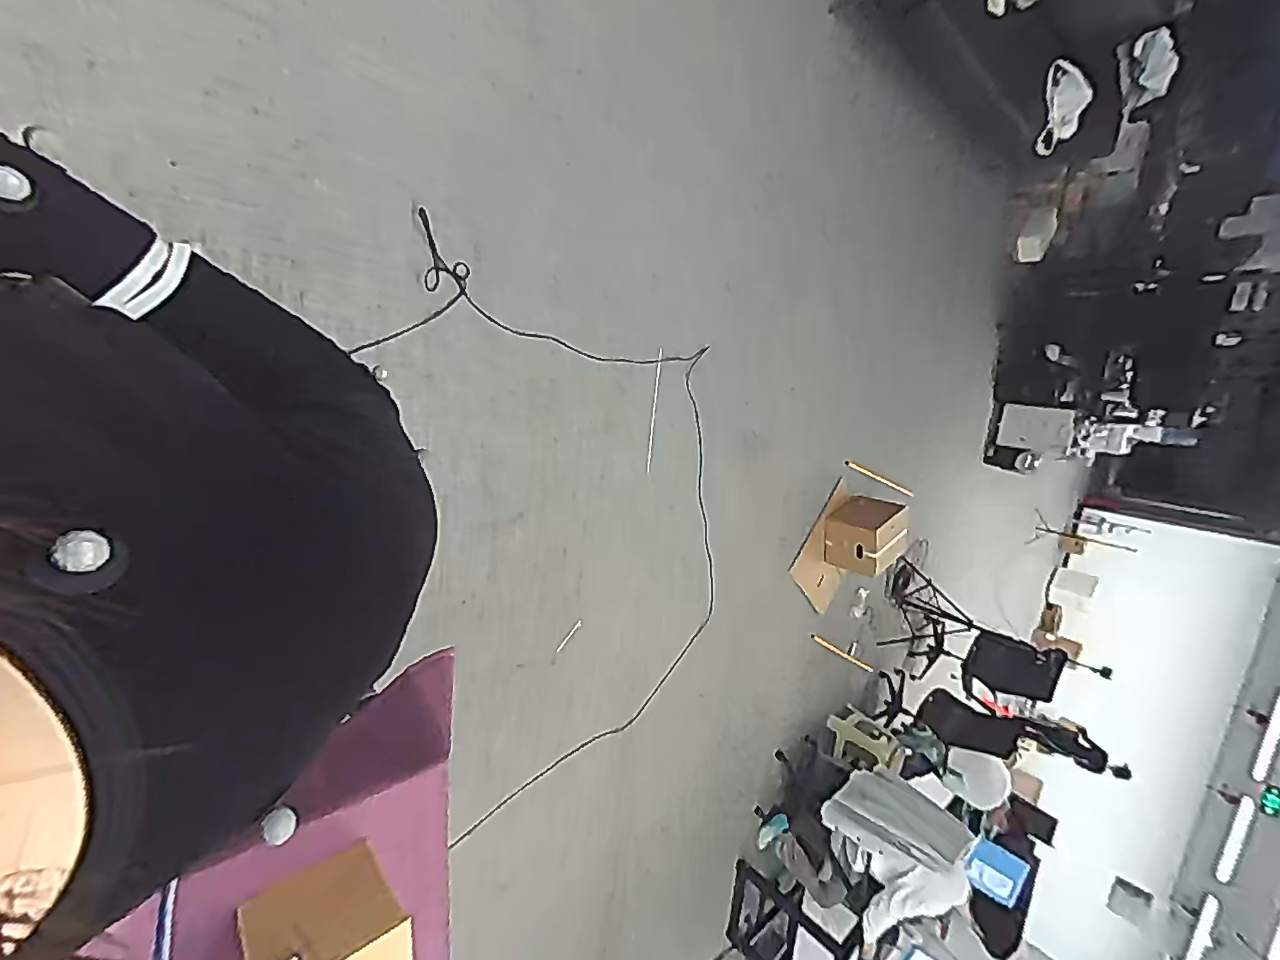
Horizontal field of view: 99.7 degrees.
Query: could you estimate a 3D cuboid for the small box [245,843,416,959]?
[{"bbox_3d":[-0.435,0.671,0.765,0.179,0.176,0.168,-9,108,-40],"label":"small box"}]
